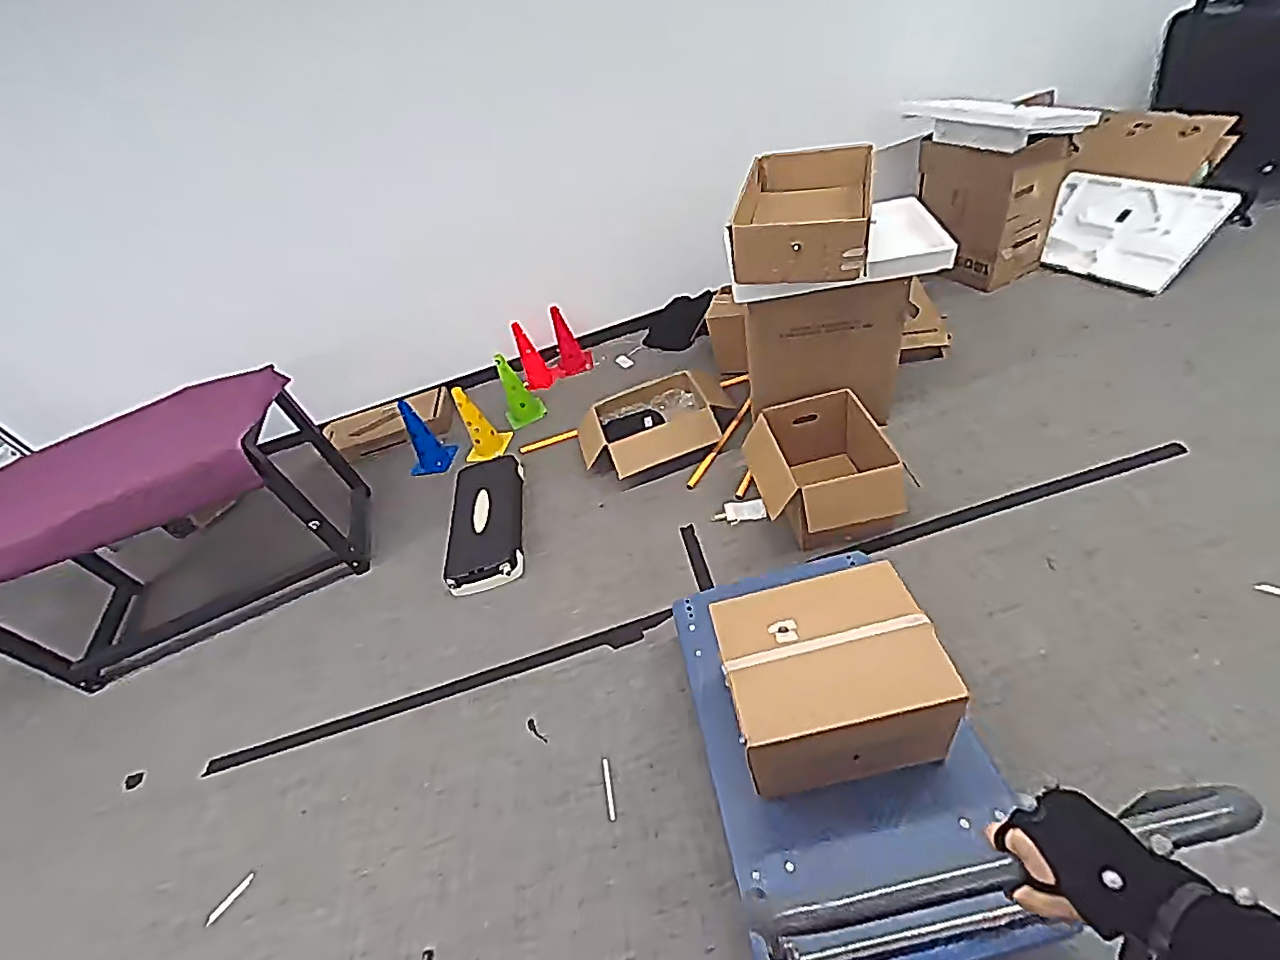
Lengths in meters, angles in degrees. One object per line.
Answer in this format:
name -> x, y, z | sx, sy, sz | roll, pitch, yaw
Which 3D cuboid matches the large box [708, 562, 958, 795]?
large box -> 0.400, 0.439, 1.189 | 0.408, 0.320, 0.320 | -17, 41, 4
